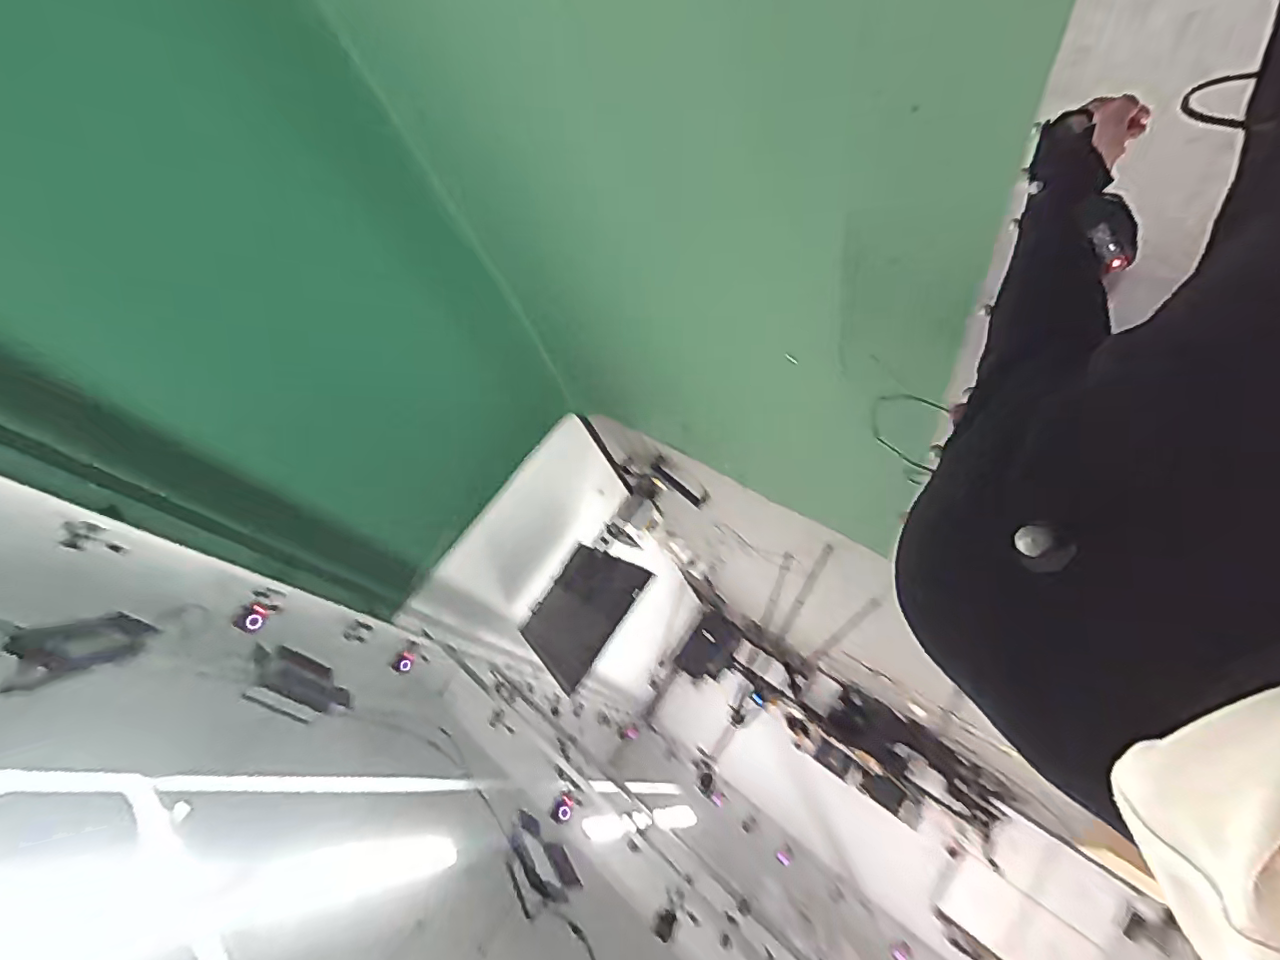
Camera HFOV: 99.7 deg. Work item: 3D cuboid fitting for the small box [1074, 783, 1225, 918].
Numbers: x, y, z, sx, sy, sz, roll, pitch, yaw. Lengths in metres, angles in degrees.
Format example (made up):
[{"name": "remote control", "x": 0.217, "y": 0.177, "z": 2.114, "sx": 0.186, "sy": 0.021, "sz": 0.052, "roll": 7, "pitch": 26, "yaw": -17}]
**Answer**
[{"name": "small box", "x": 1.089, "y": 0.783, "z": 1.161, "sx": 0.168, "sy": 0.176, "sz": 0.179, "roll": 29, "pitch": 161, "yaw": 31}]
